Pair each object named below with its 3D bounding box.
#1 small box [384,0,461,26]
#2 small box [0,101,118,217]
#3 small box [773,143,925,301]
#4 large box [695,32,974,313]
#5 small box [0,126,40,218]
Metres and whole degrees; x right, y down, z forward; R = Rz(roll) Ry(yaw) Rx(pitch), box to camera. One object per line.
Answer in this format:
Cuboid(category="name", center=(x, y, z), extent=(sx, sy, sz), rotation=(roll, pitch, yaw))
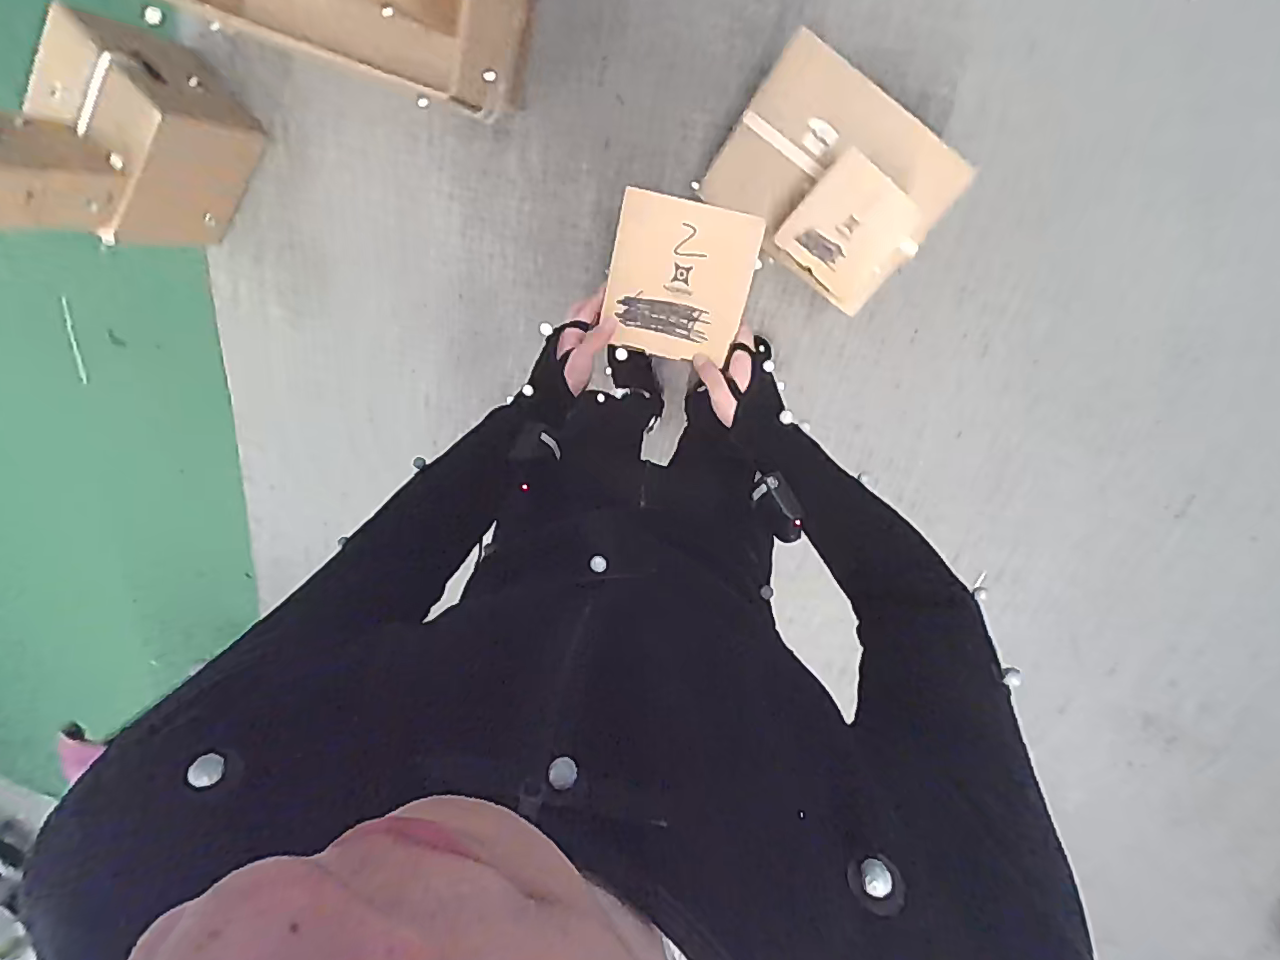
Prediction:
Cuboid(category="small box", center=(-0.379, -0.852, 0.830), extent=(0.168, 0.176, 0.179), rotation=(23, 118, 3))
Cuboid(category="small box", center=(-1.383, -0.732, 1.247), extent=(0.168, 0.176, 0.179), rotation=(-38, 101, 25))
Cuboid(category="small box", center=(0.357, -0.443, 0.947), extent=(0.168, 0.176, 0.179), rotation=(41, 117, -6))
Cuboid(category="large box", center=(0.386, -0.612, 1.141), extent=(0.408, 0.320, 0.320), rotation=(37, 116, -3))
Cuboid(category="small box", center=(-1.411, -0.659, 1.102), extent=(0.168, 0.176, 0.179), rotation=(-39, 100, 25))
